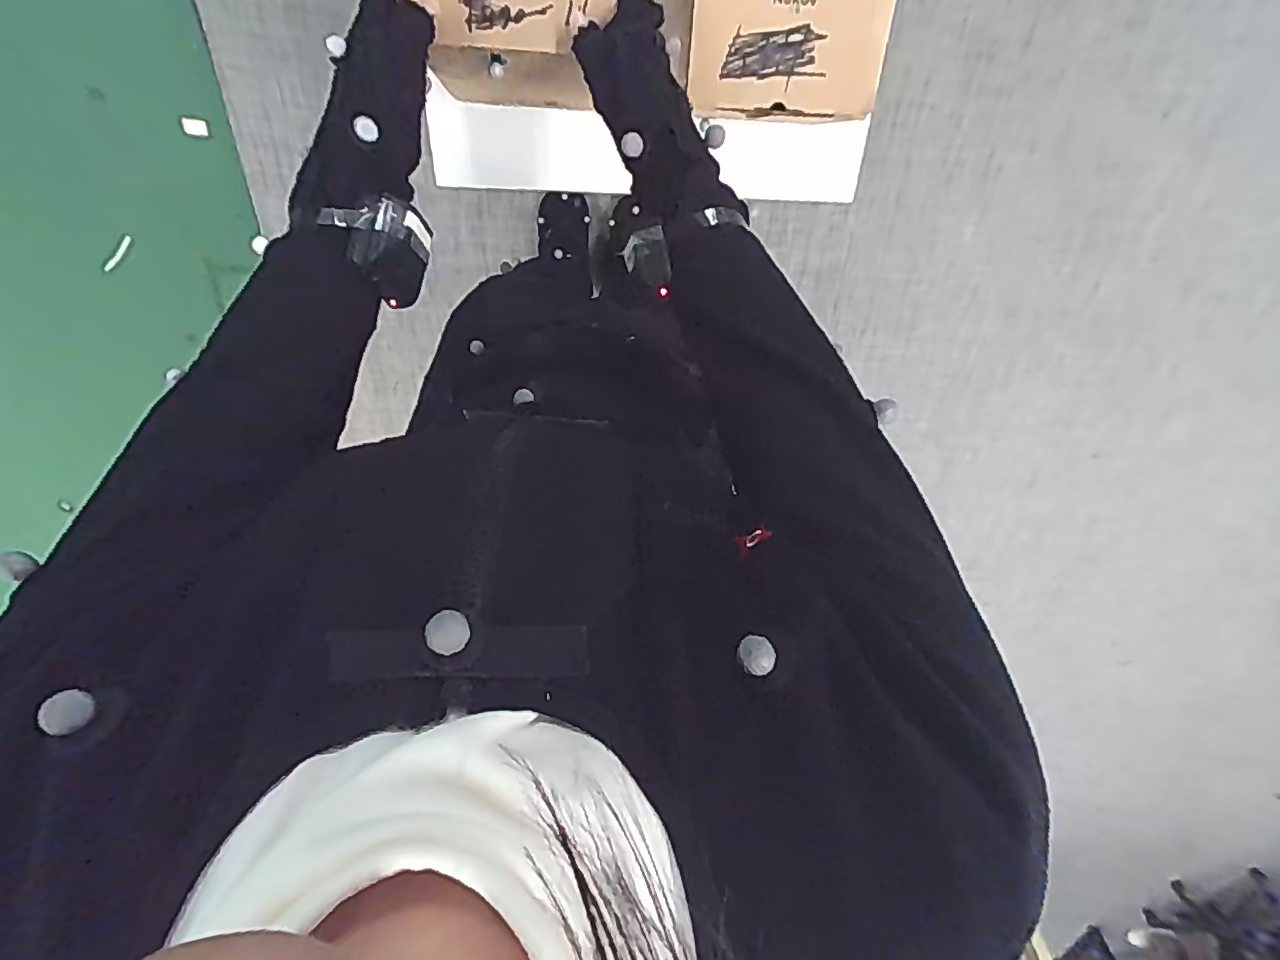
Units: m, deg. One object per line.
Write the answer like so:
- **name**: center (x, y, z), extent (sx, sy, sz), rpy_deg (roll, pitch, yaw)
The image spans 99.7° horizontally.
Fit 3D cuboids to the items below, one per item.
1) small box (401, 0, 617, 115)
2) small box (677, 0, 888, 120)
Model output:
- **small box**: center (-0.103, -0.454, 0.474), extent (0.168, 0.176, 0.179), rpy_deg (1, 108, -4)
- **small box**: center (0.124, -0.447, 0.504), extent (0.168, 0.176, 0.179), rpy_deg (3, 121, -1)
